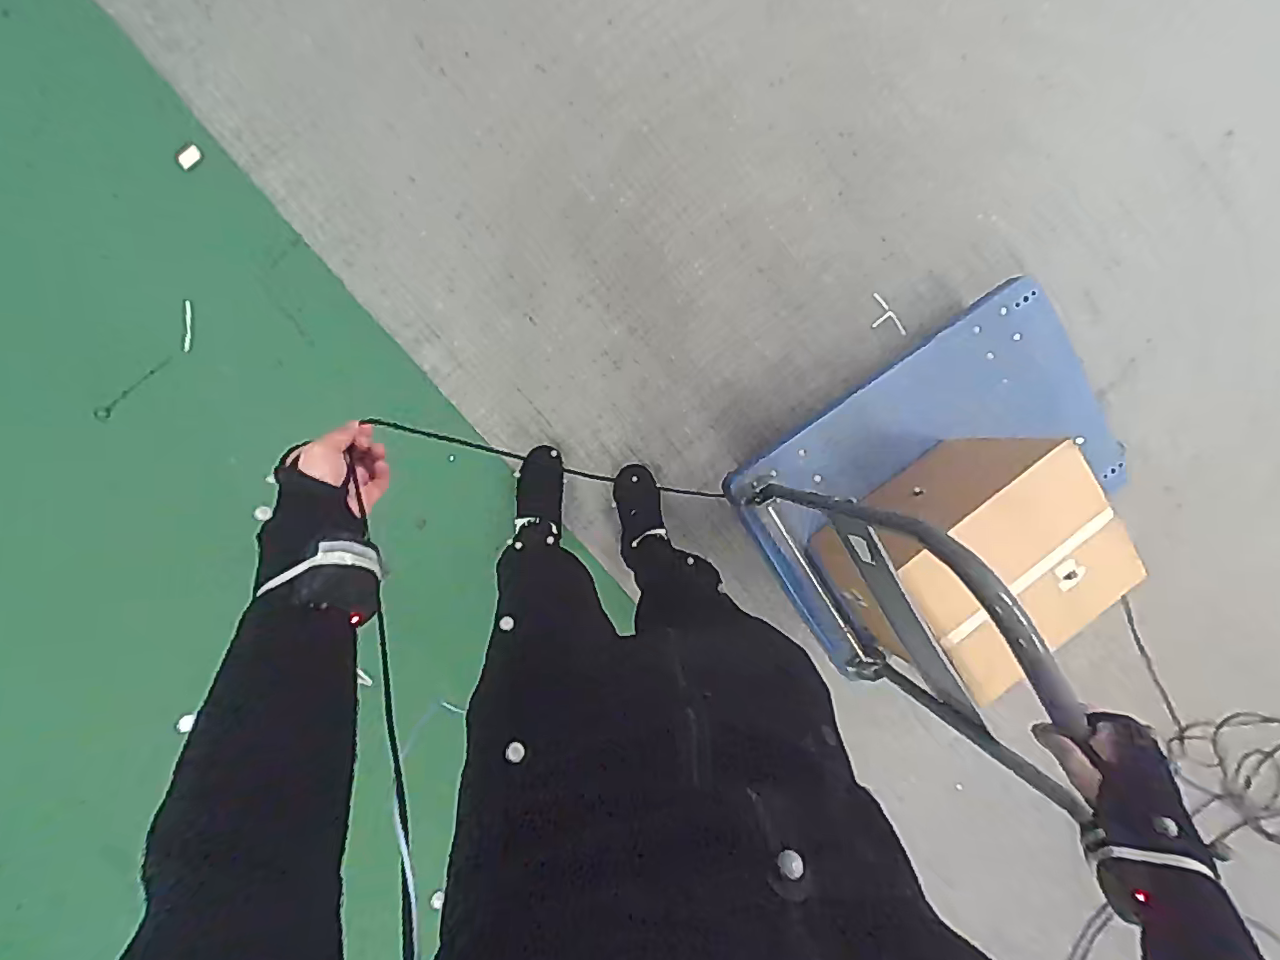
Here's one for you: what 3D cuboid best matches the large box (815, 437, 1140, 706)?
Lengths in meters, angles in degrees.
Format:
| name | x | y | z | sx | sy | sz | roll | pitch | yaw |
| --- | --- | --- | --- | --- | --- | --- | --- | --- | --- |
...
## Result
| name | x | y | z | sx | sy | sz | roll | pitch | yaw |
| --- | --- | --- | --- | --- | --- | --- | --- | --- | --- |
| large box | 0.651 | 0.156 | 1.097 | 0.408 | 0.320 | 0.320 | -36 | 99 | -6 |
